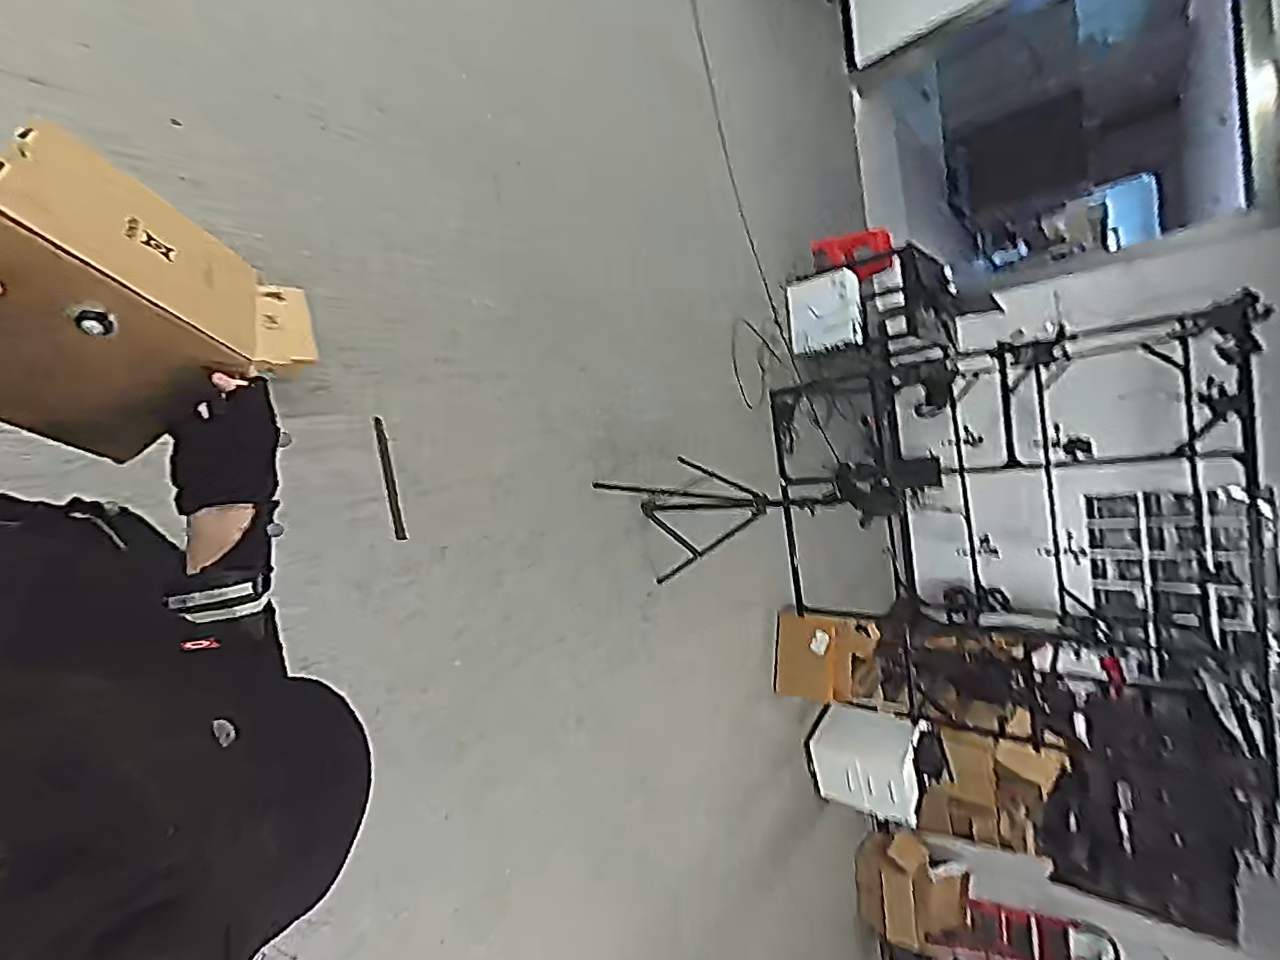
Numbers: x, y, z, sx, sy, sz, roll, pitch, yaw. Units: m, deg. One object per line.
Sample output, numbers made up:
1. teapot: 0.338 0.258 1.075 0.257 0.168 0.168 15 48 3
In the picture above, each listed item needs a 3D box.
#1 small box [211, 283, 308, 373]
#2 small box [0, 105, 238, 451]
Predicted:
1. small box: -0.916 -0.350 1.277 0.168 0.176 0.179 -14 97 -49
2. small box: -0.483 -0.153 0.449 0.168 0.176 0.179 61 7 34
